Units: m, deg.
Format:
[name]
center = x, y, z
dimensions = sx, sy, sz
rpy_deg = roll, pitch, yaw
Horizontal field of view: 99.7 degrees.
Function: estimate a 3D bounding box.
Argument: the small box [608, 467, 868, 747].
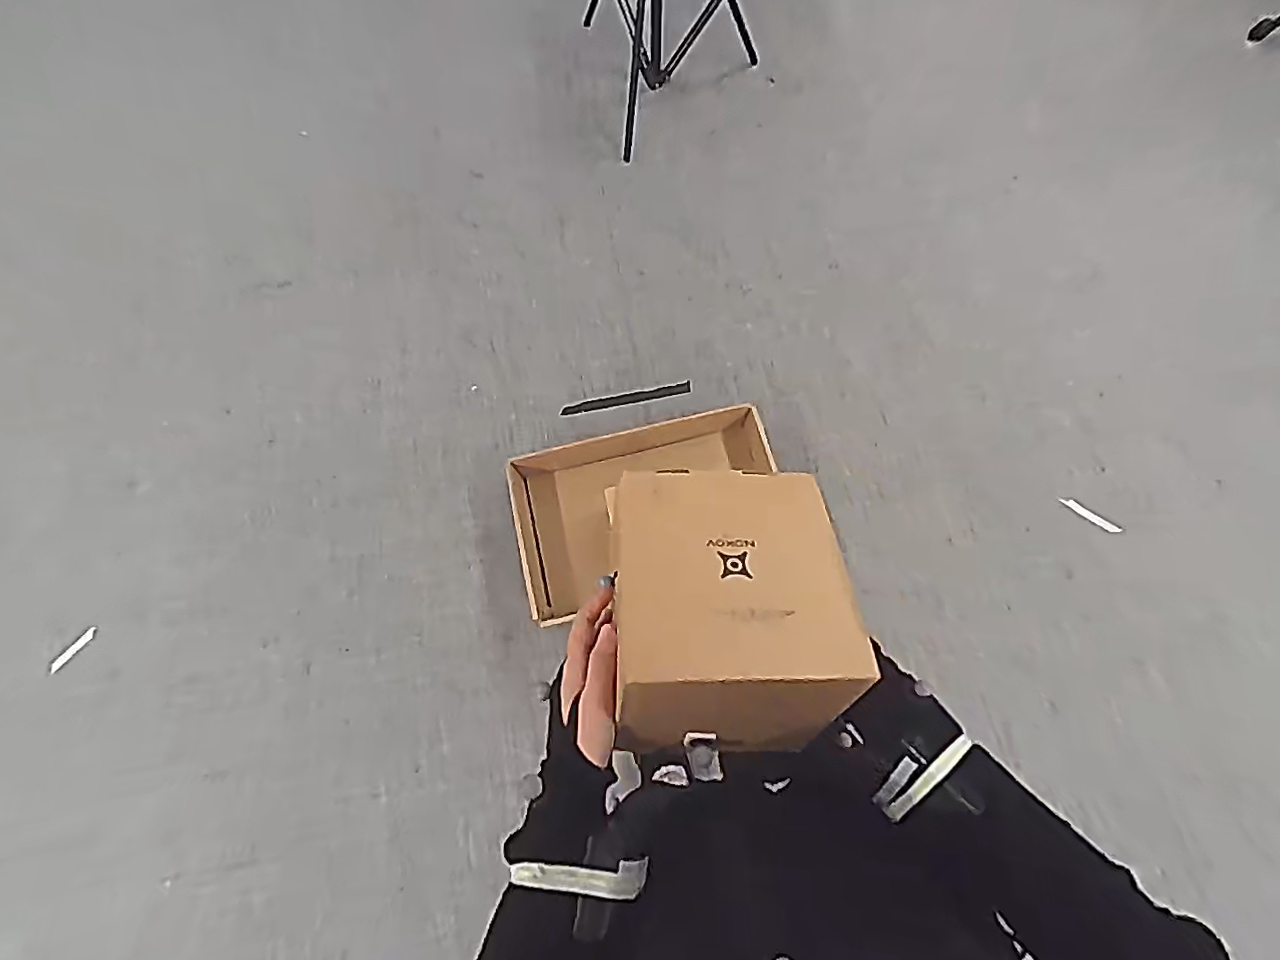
[small box]
center = 0.058, 0.109, 0.458
dimensions = 0.168, 0.176, 0.179
rpy_deg = 1, 50, -5
